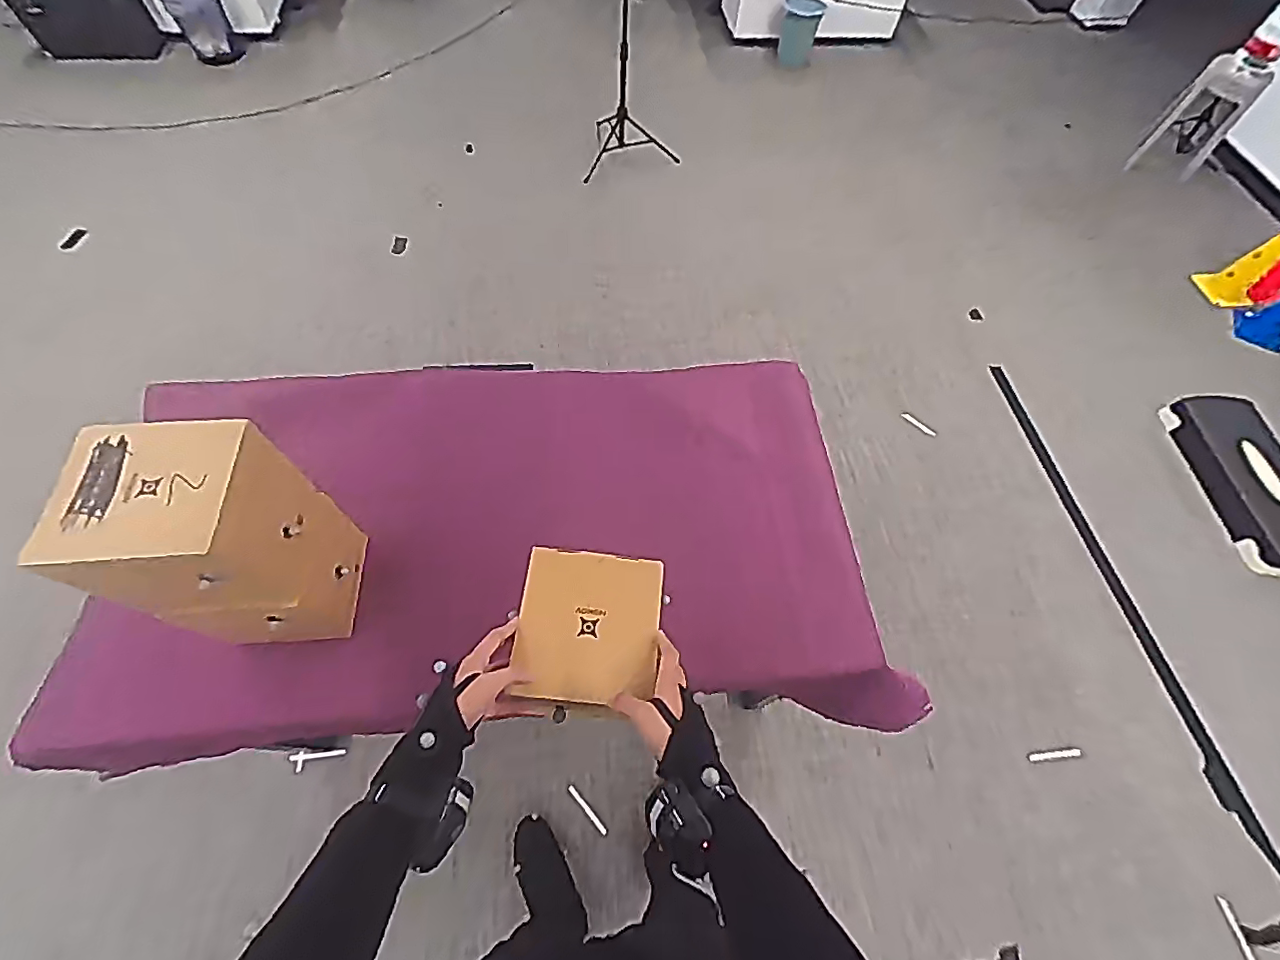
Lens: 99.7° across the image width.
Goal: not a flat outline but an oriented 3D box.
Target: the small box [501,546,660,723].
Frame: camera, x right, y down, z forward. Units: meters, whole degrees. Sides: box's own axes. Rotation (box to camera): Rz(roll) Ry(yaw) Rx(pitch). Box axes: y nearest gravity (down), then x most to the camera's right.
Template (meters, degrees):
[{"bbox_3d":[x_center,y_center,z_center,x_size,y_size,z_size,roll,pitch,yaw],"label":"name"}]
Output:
[{"bbox_3d":[-0.069,0.205,0.693,0.168,0.176,0.179,7,59,-2],"label":"small box"}]

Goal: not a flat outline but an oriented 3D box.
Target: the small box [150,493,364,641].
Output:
[{"bbox_3d":[-0.523,0.128,0.775,0.179,0.176,0.168,-2,61,-5],"label":"small box"}]
